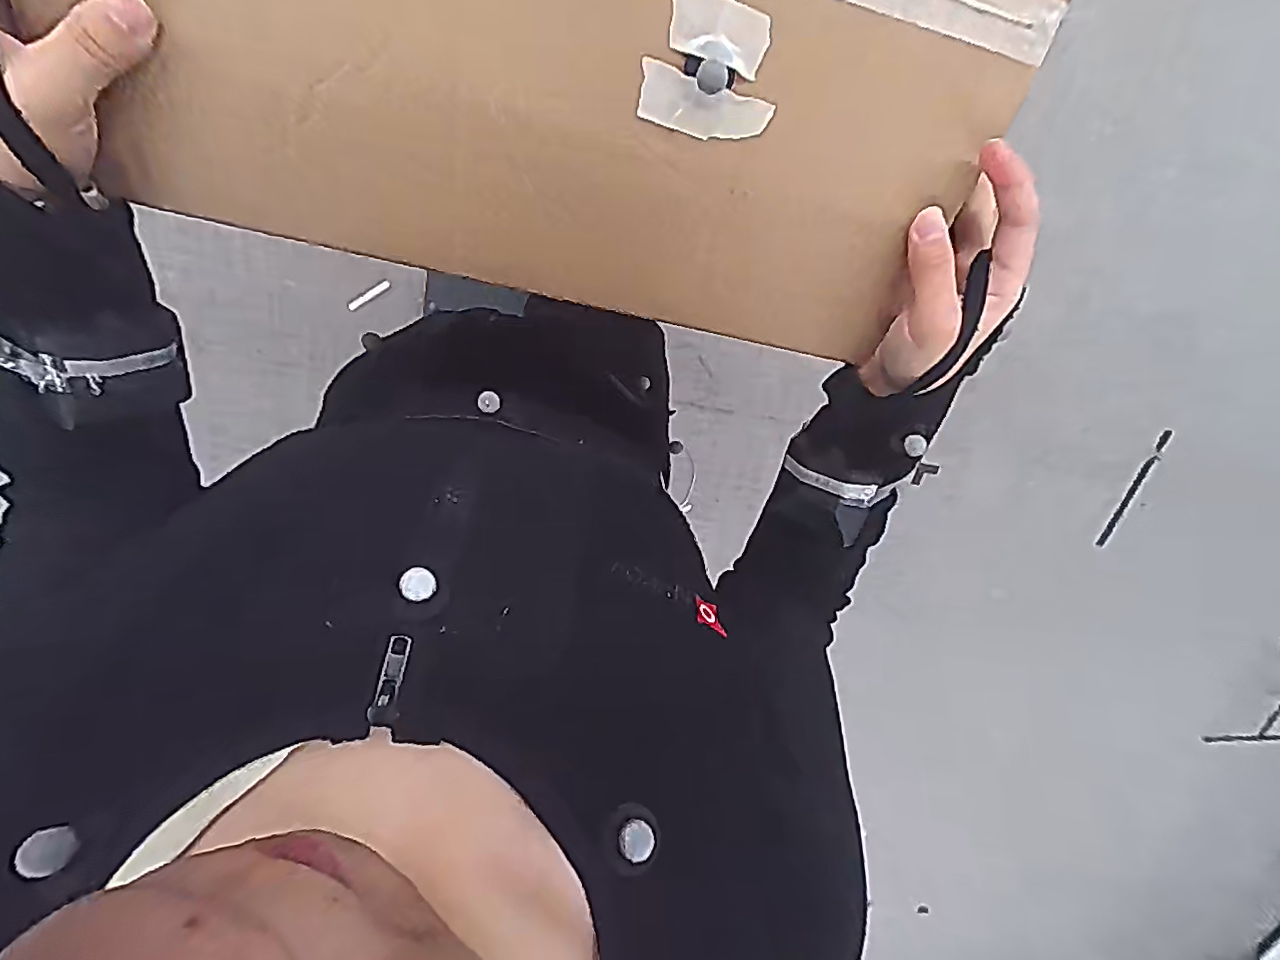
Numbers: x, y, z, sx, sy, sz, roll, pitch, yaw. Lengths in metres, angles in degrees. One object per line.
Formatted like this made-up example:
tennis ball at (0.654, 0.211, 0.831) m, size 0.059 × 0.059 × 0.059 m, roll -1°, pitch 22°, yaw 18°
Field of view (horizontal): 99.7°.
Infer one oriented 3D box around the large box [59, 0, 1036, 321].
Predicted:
large box at (-0.029, -0.331, 0.313) m, size 0.408 × 0.320 × 0.320 m, roll 9°, pitch 129°, yaw -11°
